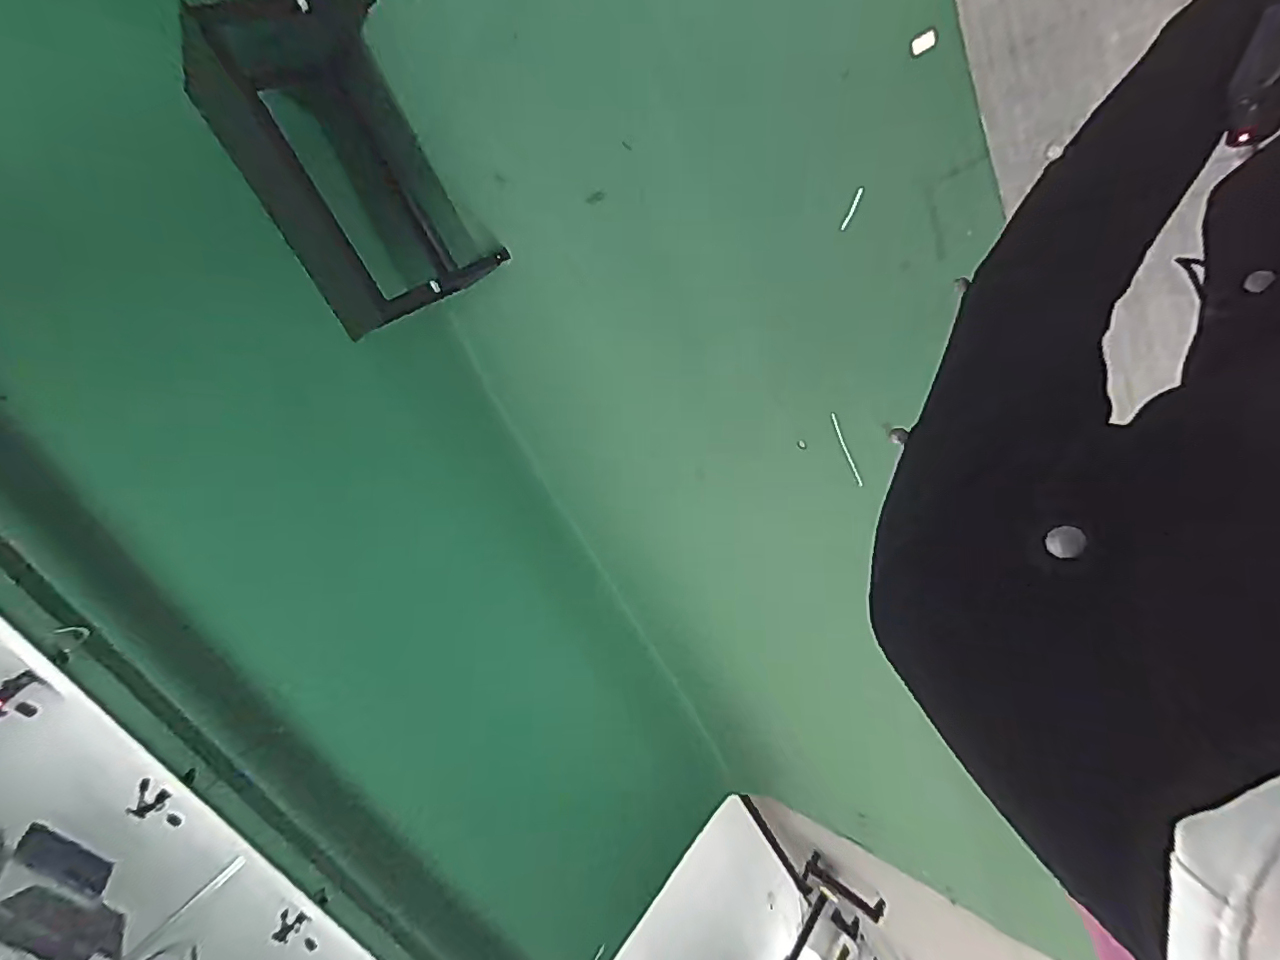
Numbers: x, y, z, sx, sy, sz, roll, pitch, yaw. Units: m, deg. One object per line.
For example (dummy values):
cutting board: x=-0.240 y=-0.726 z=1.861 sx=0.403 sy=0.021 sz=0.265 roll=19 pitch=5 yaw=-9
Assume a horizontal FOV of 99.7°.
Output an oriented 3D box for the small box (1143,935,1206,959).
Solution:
small box: x=1.301 y=1.238 z=1.267 sx=0.168 sy=0.176 sz=0.179 roll=-3 pitch=122 yaw=54
